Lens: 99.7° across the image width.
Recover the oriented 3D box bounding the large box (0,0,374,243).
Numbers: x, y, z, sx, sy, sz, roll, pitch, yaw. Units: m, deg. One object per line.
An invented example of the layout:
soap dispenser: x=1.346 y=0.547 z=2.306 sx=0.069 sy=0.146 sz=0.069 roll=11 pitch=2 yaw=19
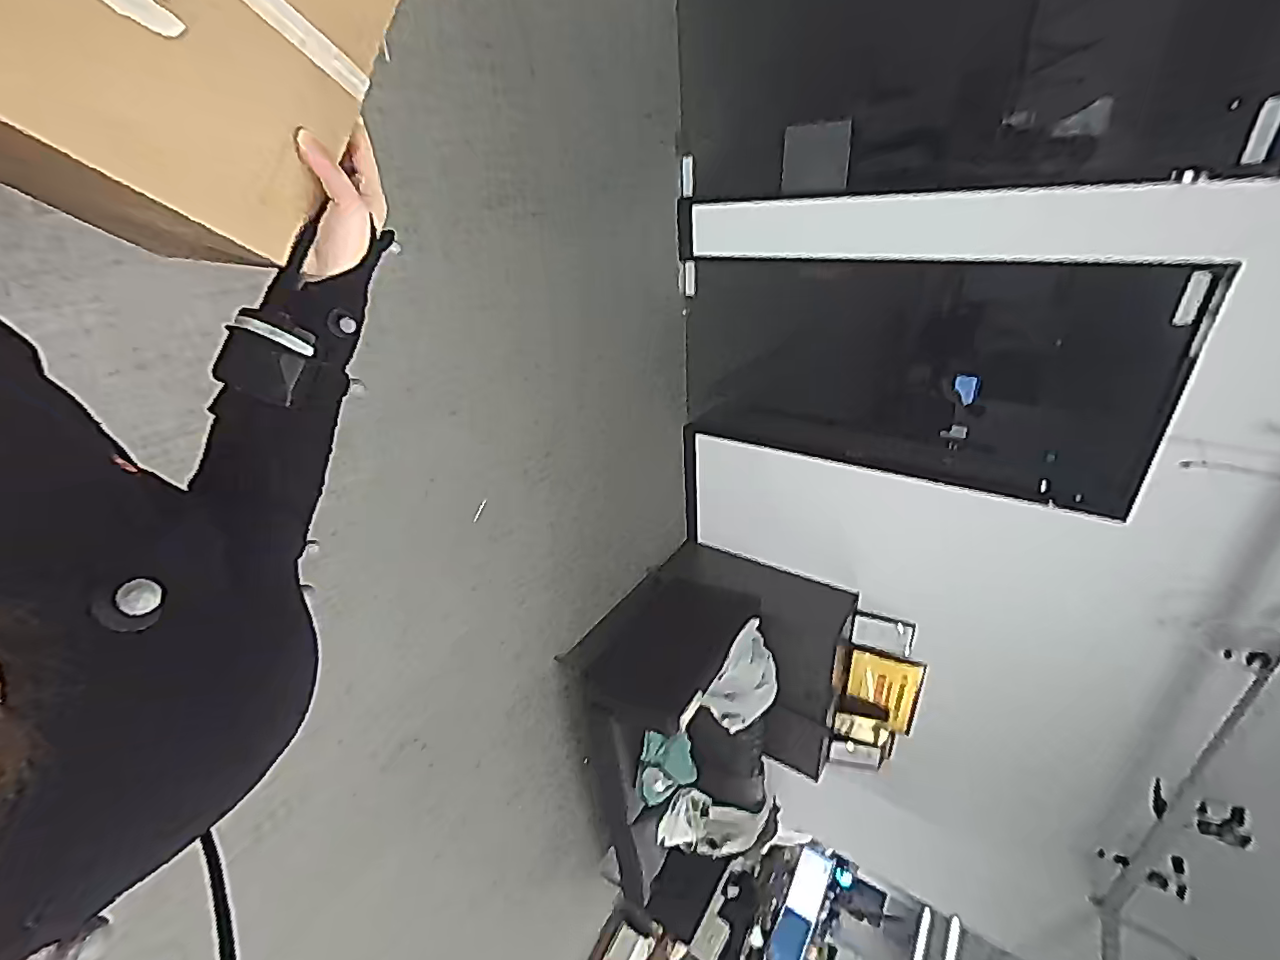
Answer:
large box: x=-0.454 y=-0.404 z=0.342 sx=0.408 sy=0.320 sz=0.320 roll=22 pitch=87 yaw=-59
